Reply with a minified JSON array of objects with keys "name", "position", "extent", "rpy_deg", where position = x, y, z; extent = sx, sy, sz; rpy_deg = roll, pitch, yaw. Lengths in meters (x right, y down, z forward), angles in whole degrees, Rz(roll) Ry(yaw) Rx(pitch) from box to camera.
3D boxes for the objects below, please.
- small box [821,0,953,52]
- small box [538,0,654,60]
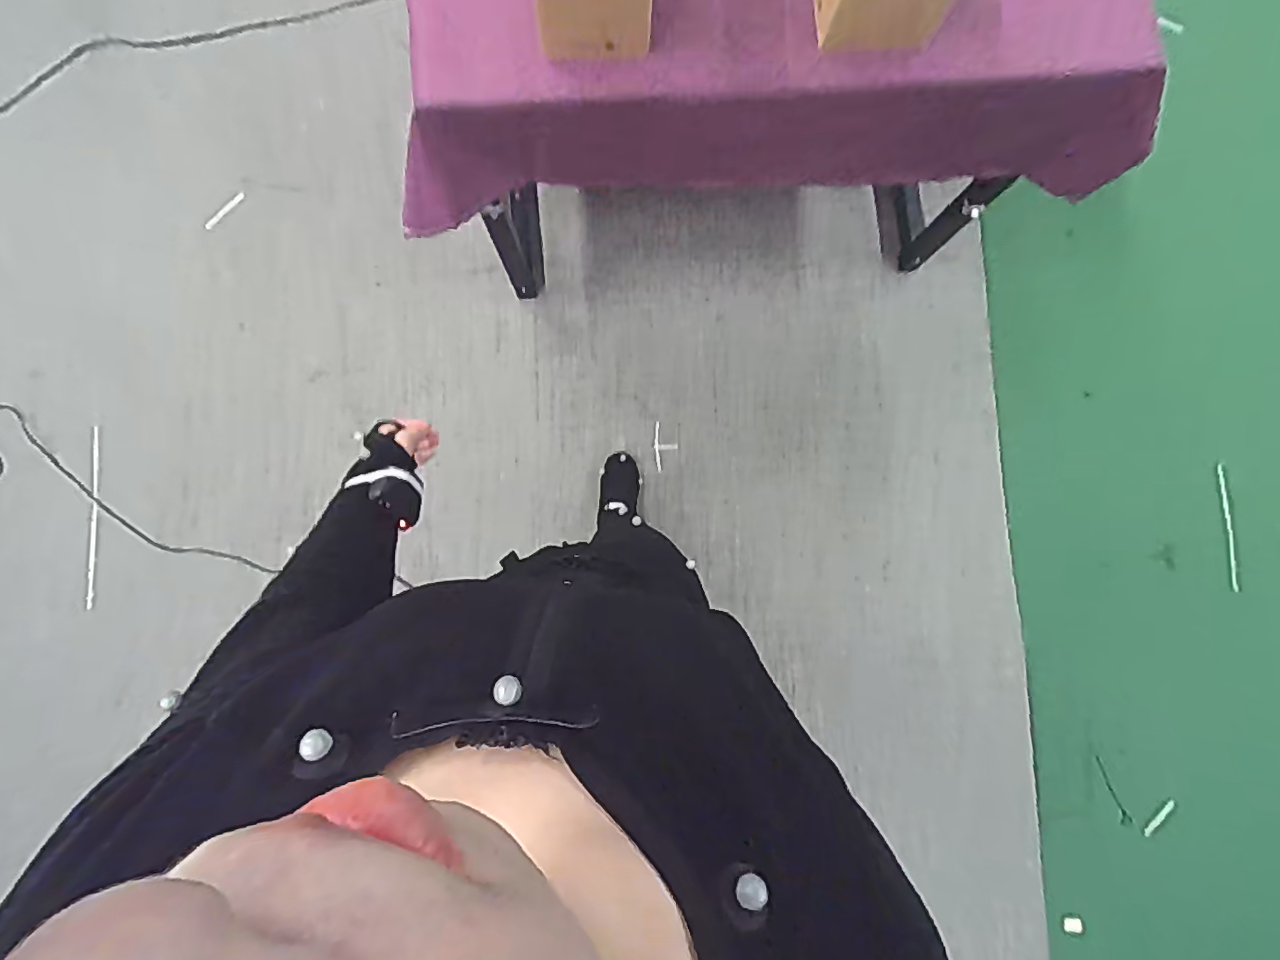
[{"name":"small box","position":[0.371,-0.768,0.788],"extent":[0.179,0.176,0.168],"rpy_deg":[-3,85,-3]},{"name":"small box","position":[-0.064,-0.750,0.769],"extent":[0.168,0.176,0.179],"rpy_deg":[-2,84,-2]}]
